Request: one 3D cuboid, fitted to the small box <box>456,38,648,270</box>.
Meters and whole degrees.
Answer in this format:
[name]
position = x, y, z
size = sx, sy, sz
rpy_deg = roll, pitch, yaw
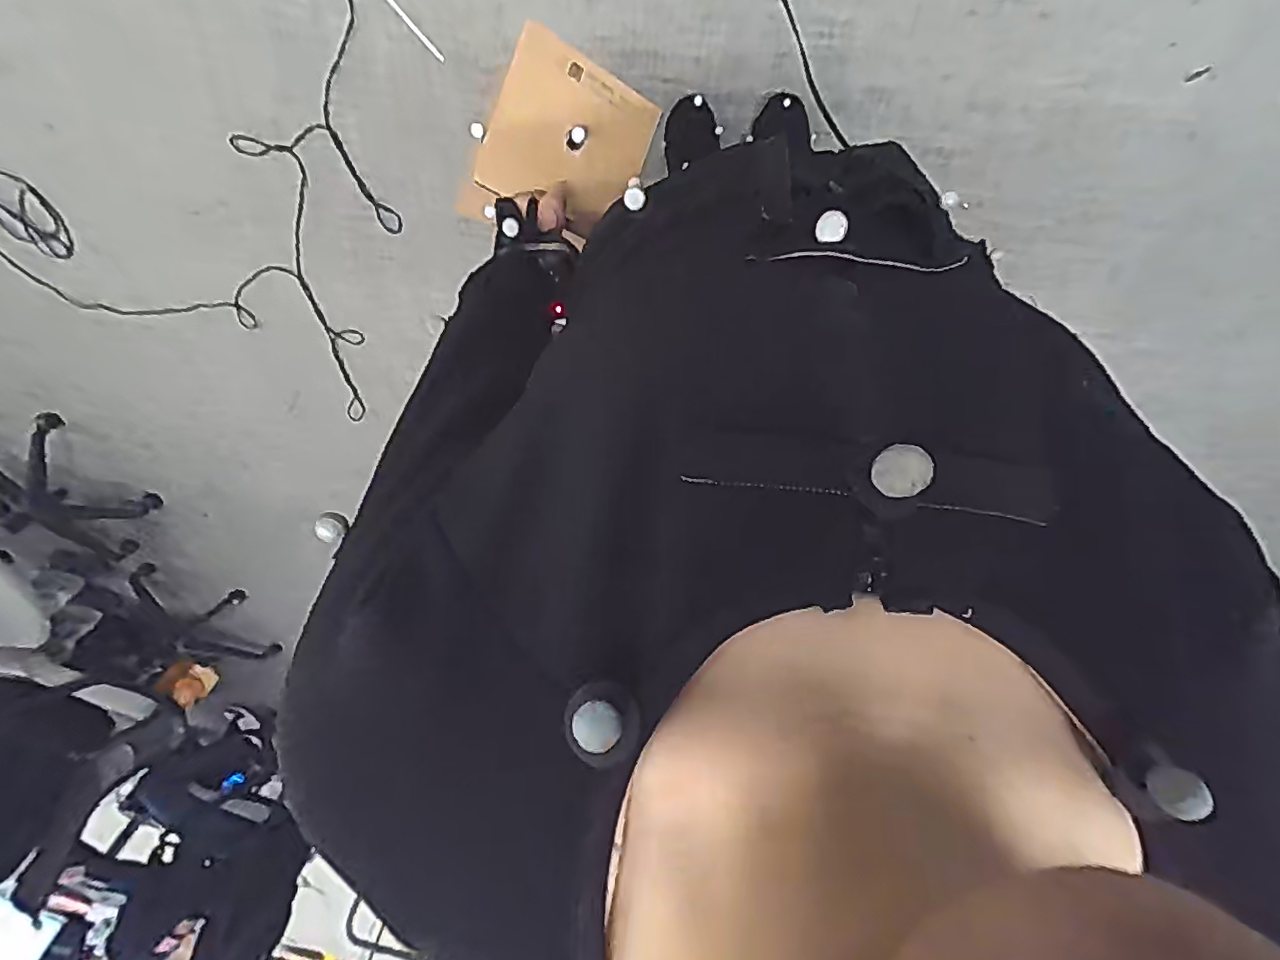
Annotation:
[small box]
position = -0.109, -0.379, 0.660
size = 0.168, 0.179, 0.176
rpy_deg = 17, 97, -29
